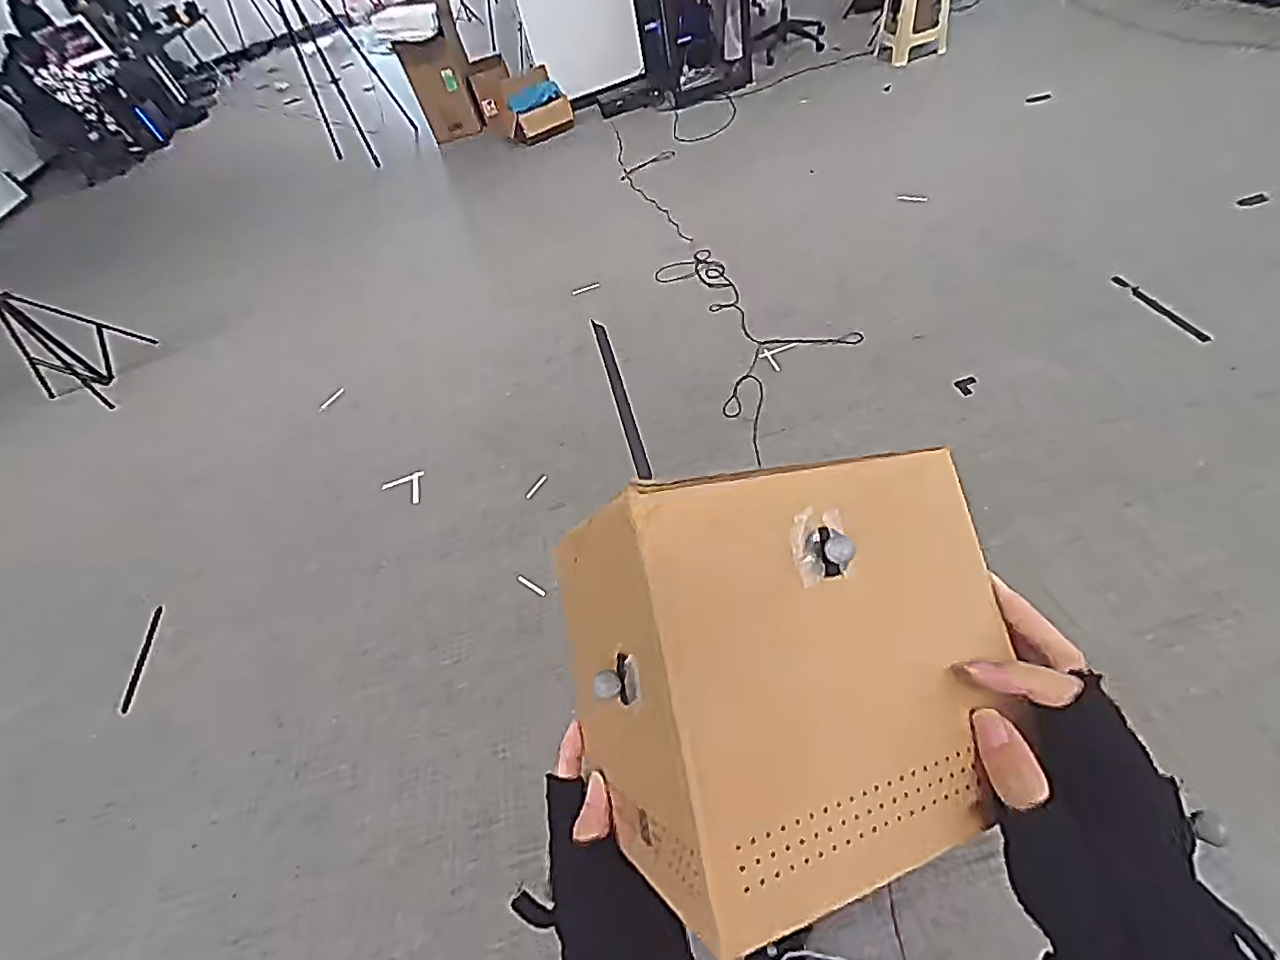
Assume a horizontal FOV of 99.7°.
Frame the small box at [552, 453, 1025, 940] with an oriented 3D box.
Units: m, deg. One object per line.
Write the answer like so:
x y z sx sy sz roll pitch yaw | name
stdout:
0.064 0.097 0.299 0.179 0.168 0.176 -7 78 -22 | small box
